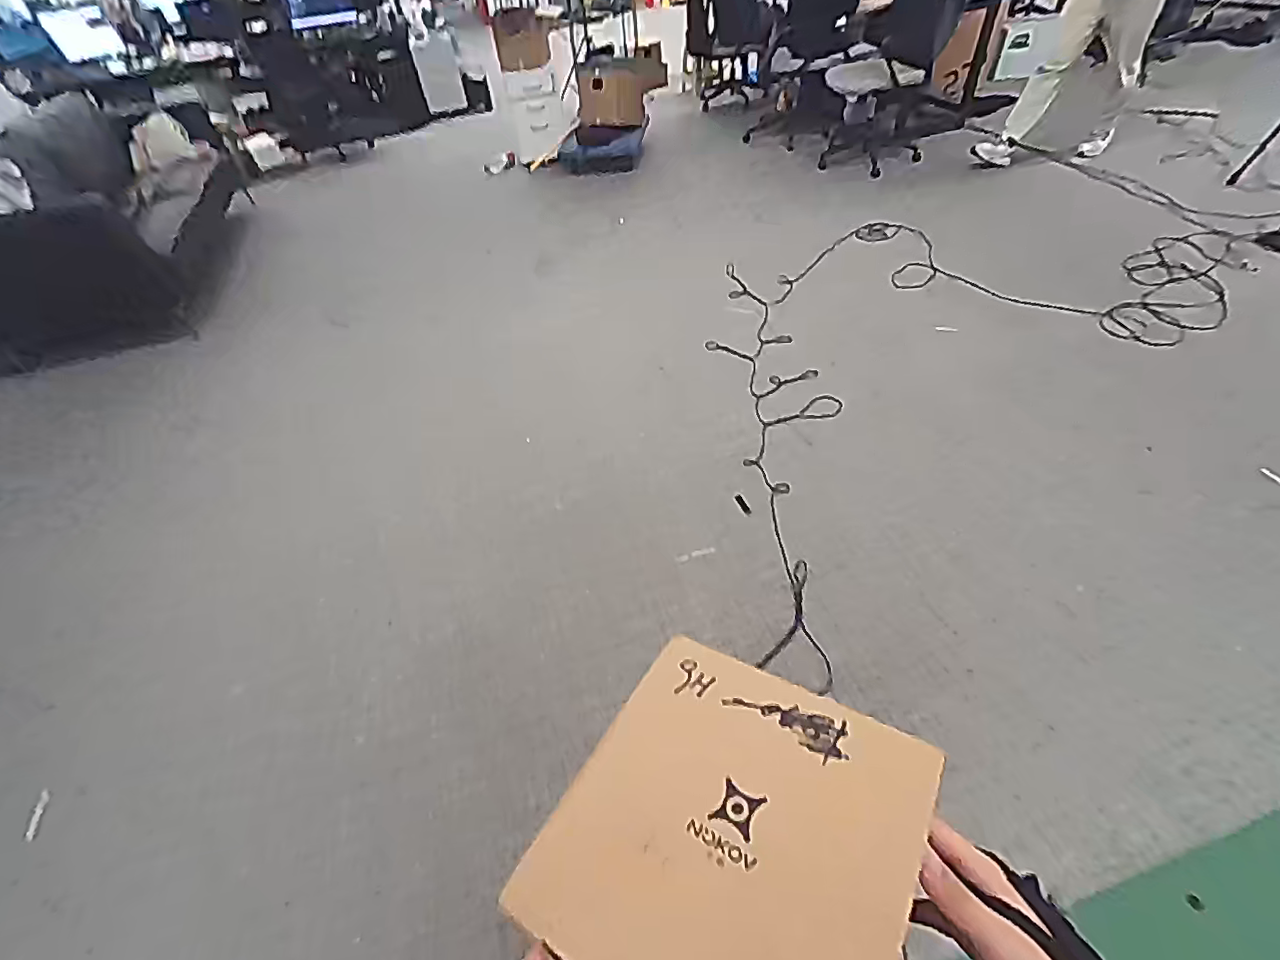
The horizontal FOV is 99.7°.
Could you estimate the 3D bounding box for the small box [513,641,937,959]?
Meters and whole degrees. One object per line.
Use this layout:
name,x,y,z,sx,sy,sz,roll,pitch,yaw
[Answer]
small box,0.061,0.241,0.326,0.168,0.176,0.179,15,44,31
